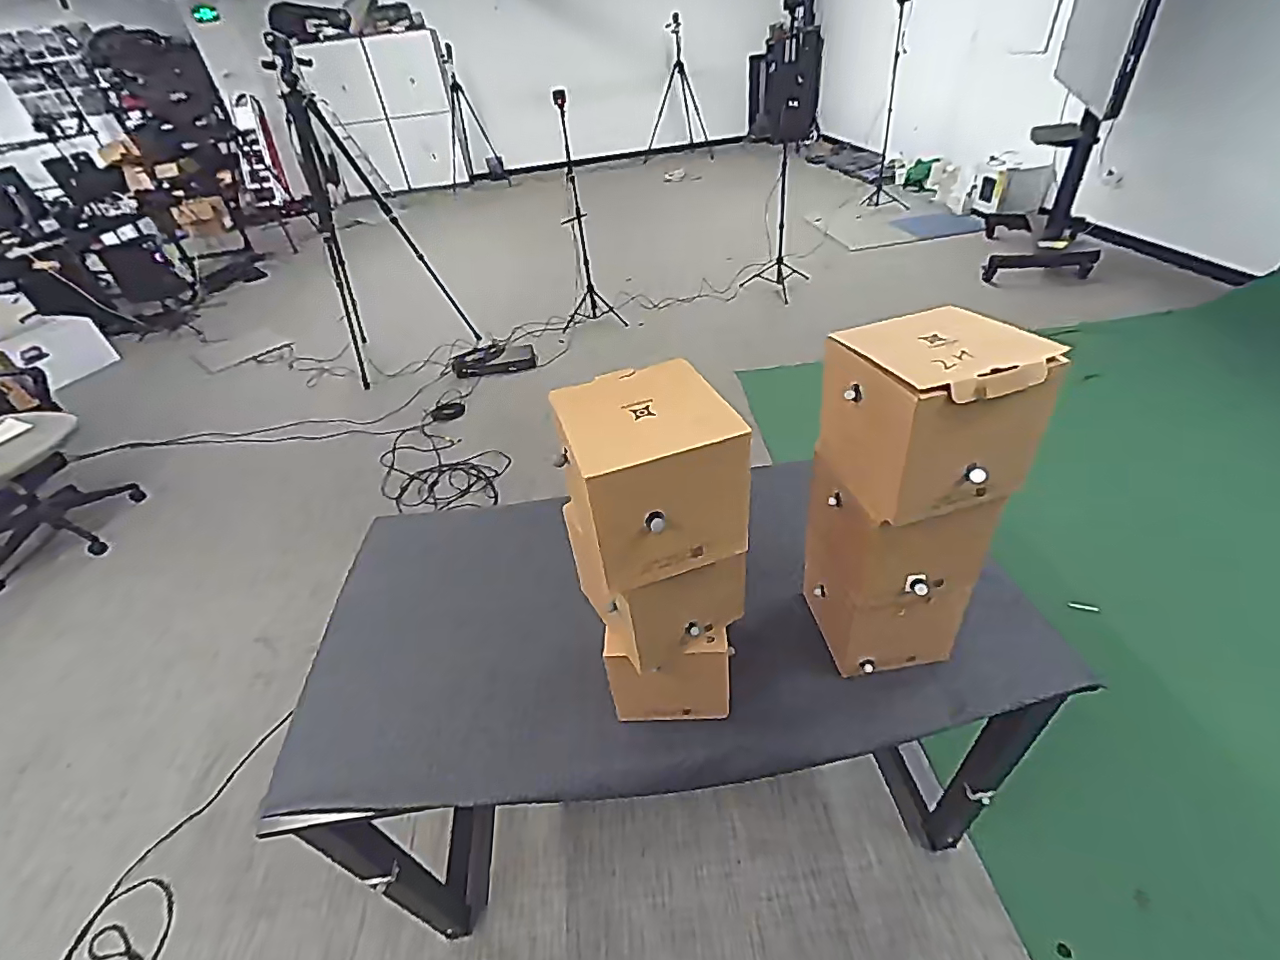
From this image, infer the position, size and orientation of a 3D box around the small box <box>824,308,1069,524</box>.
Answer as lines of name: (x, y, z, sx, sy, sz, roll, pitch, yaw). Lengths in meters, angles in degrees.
small box: (0.330, -0.077, 0.628, 0.168, 0.176, 0.179, -15, 37, -5)

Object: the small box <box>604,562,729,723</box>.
small box: (0.044, 0.239, 0.814, 0.168, 0.176, 0.179, -4, 37, 5)

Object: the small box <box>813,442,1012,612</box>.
small box: (0.347, 0.048, 0.735, 0.168, 0.176, 0.179, -12, 38, -3)

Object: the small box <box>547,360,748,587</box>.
small box: (0.009, -0.004, 0.597, 0.168, 0.176, 0.179, -17, 39, -11)

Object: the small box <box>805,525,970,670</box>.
small box: (0.366, 0.174, 0.836, 0.168, 0.176, 0.179, -9, 36, -1)
